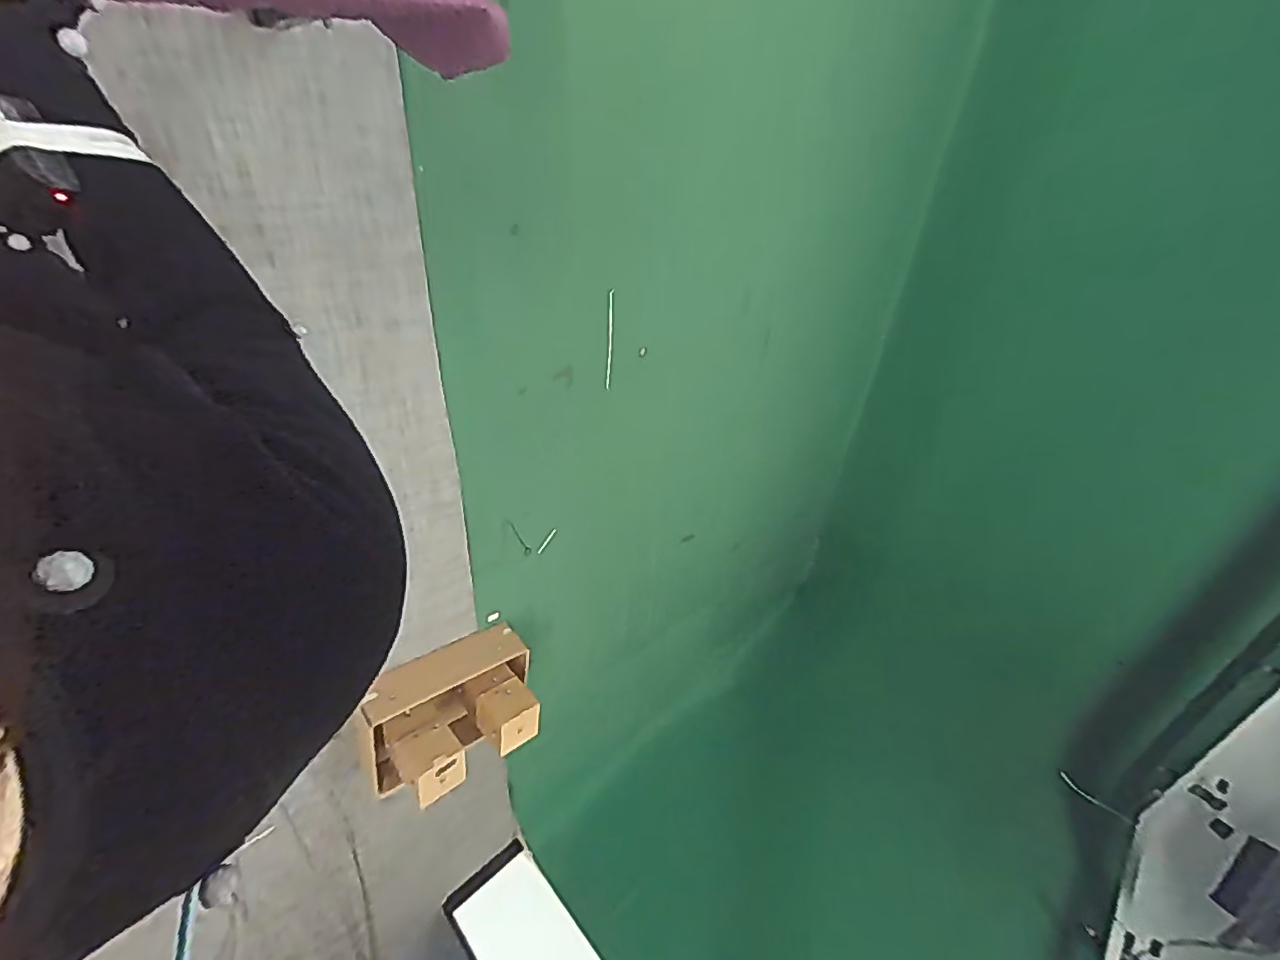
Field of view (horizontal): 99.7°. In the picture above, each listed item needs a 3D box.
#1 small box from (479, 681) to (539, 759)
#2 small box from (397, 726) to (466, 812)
[{"bbox_3d":[-0.505,0.913,2.071,0.168,0.176,0.179,-17,126,-42],"label":"small box"},{"bbox_3d":[-0.719,0.981,1.861,0.168,0.176,0.179,-20,129,-42],"label":"small box"}]
